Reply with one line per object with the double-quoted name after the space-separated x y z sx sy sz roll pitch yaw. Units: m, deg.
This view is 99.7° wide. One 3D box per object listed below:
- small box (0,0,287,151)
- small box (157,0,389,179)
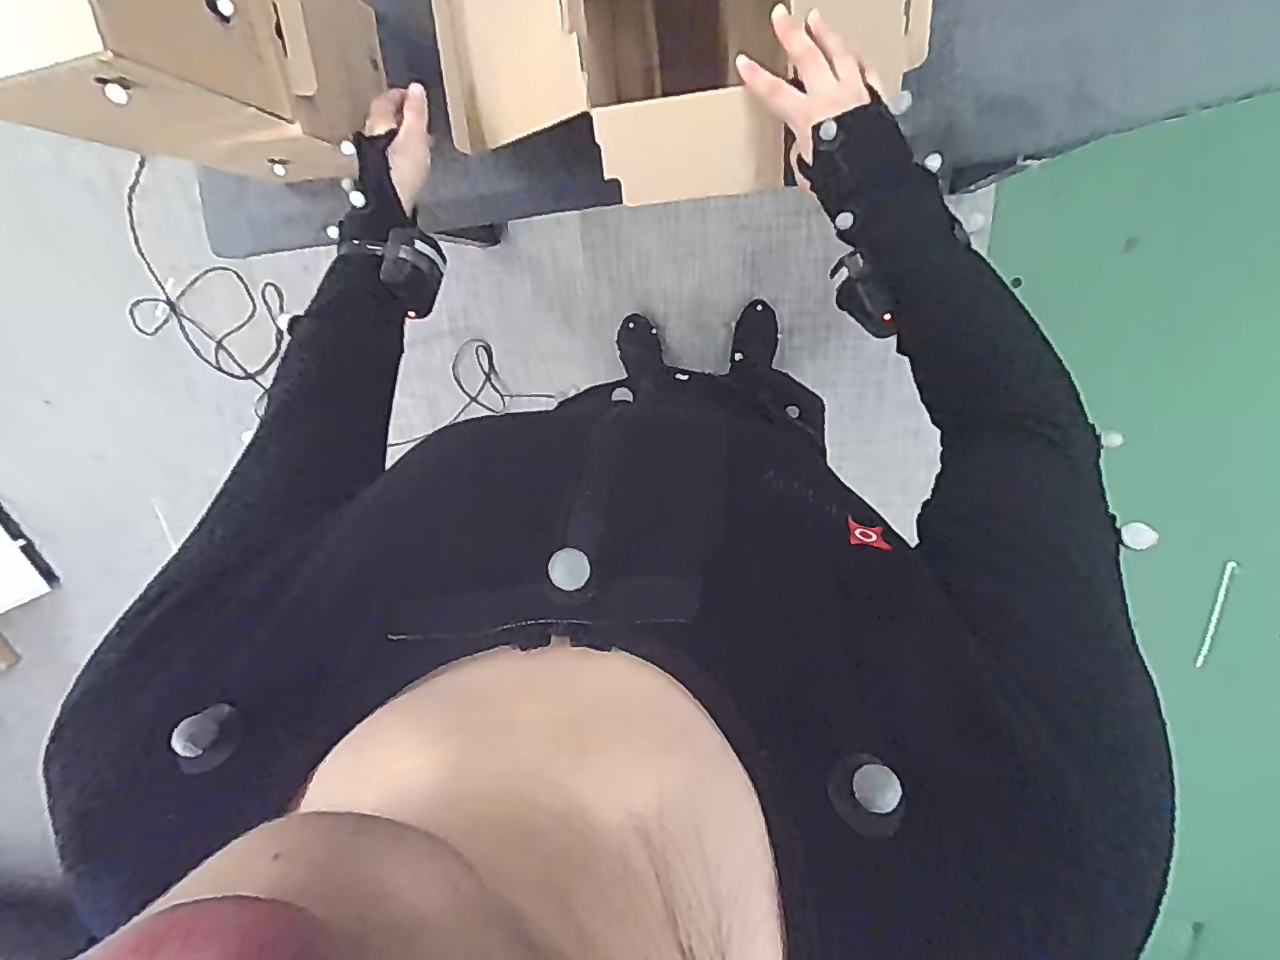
-0.436 -0.384 0.430 0.179 0.176 0.168 -5 108 10 "small box"
-0.396 -0.435 0.580 0.179 0.176 0.168 0 109 10 "small box"
